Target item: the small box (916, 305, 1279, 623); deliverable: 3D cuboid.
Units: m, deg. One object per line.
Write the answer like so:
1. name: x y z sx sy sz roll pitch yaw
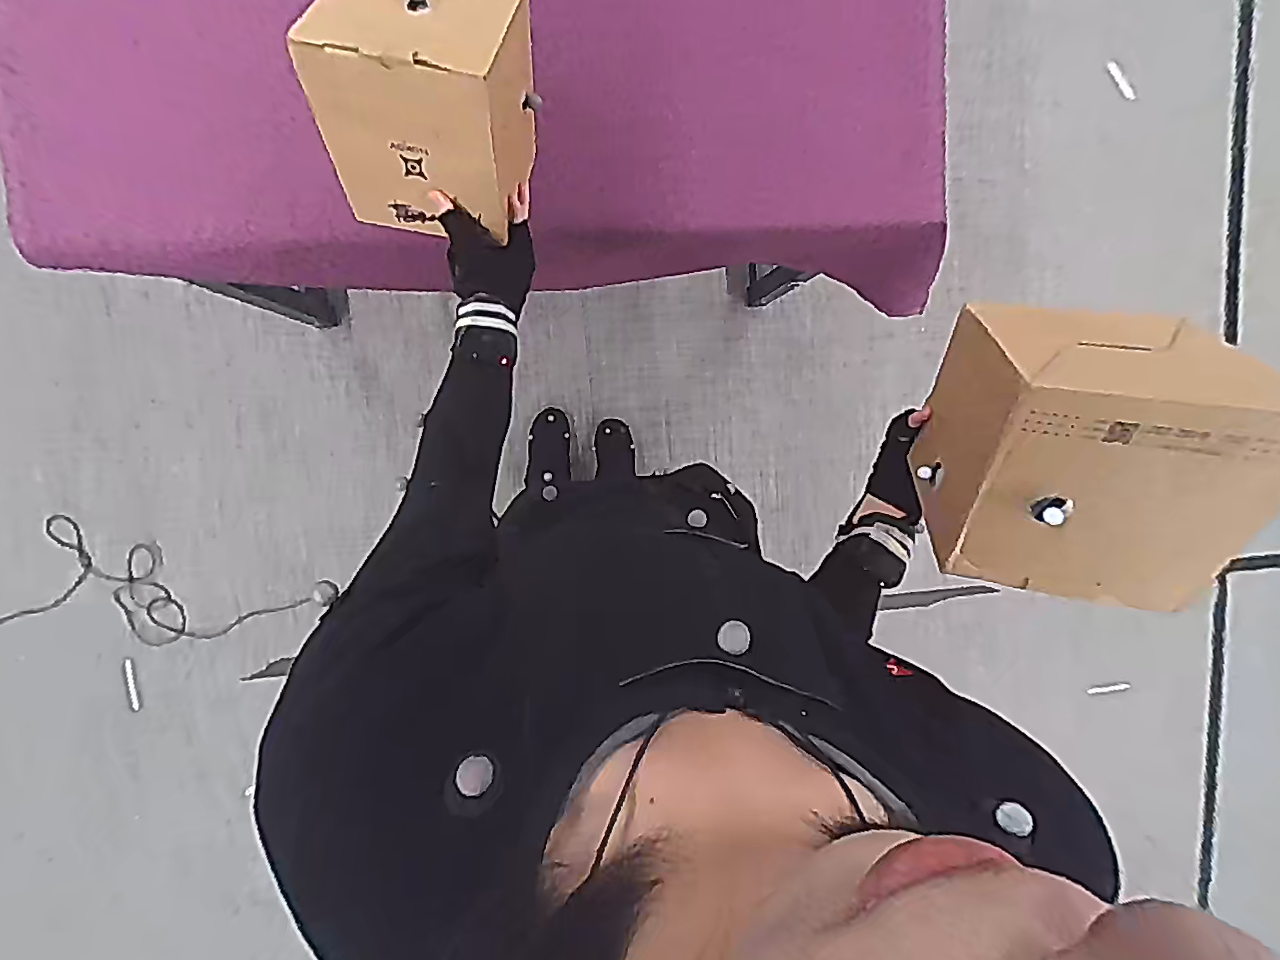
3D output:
1. small box: 0.336 -0.025 0.415 0.168 0.179 0.176 10 126 11

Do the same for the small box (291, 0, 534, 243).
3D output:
1. small box: -0.205 -0.381 0.548 0.168 0.179 0.176 9 61 -4
